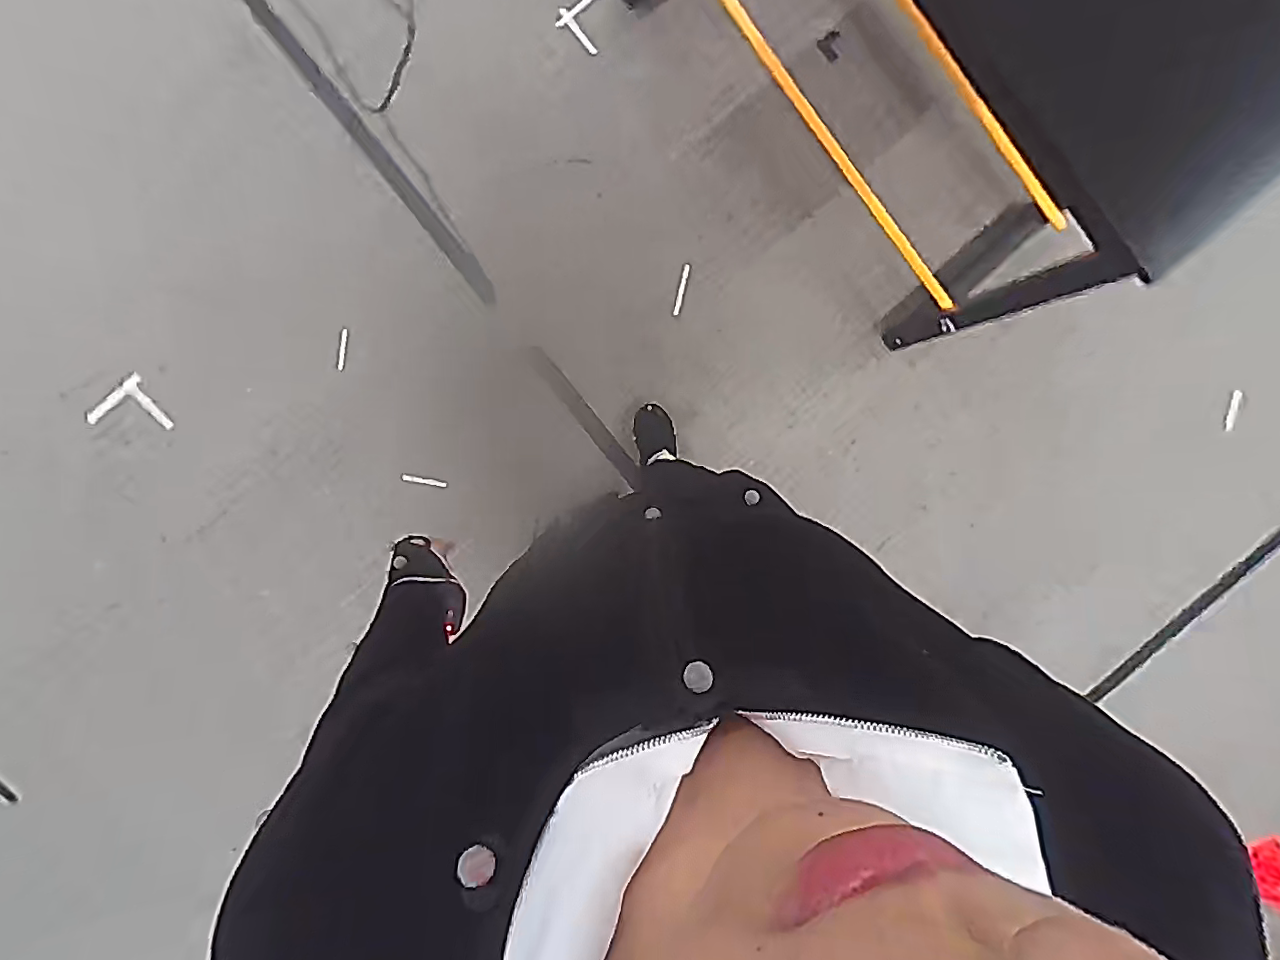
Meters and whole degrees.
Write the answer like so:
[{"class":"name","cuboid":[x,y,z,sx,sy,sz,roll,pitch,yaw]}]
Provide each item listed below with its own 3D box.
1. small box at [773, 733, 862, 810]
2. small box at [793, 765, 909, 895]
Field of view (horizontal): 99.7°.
[{"class":"small box","cuboid":[0.504,0.854,1.516,0.179,0.176,0.168,-37,96,1]},{"class":"small box","cuboid":[0.520,0.865,1.355,0.168,0.176,0.179,-41,95,-1]}]
